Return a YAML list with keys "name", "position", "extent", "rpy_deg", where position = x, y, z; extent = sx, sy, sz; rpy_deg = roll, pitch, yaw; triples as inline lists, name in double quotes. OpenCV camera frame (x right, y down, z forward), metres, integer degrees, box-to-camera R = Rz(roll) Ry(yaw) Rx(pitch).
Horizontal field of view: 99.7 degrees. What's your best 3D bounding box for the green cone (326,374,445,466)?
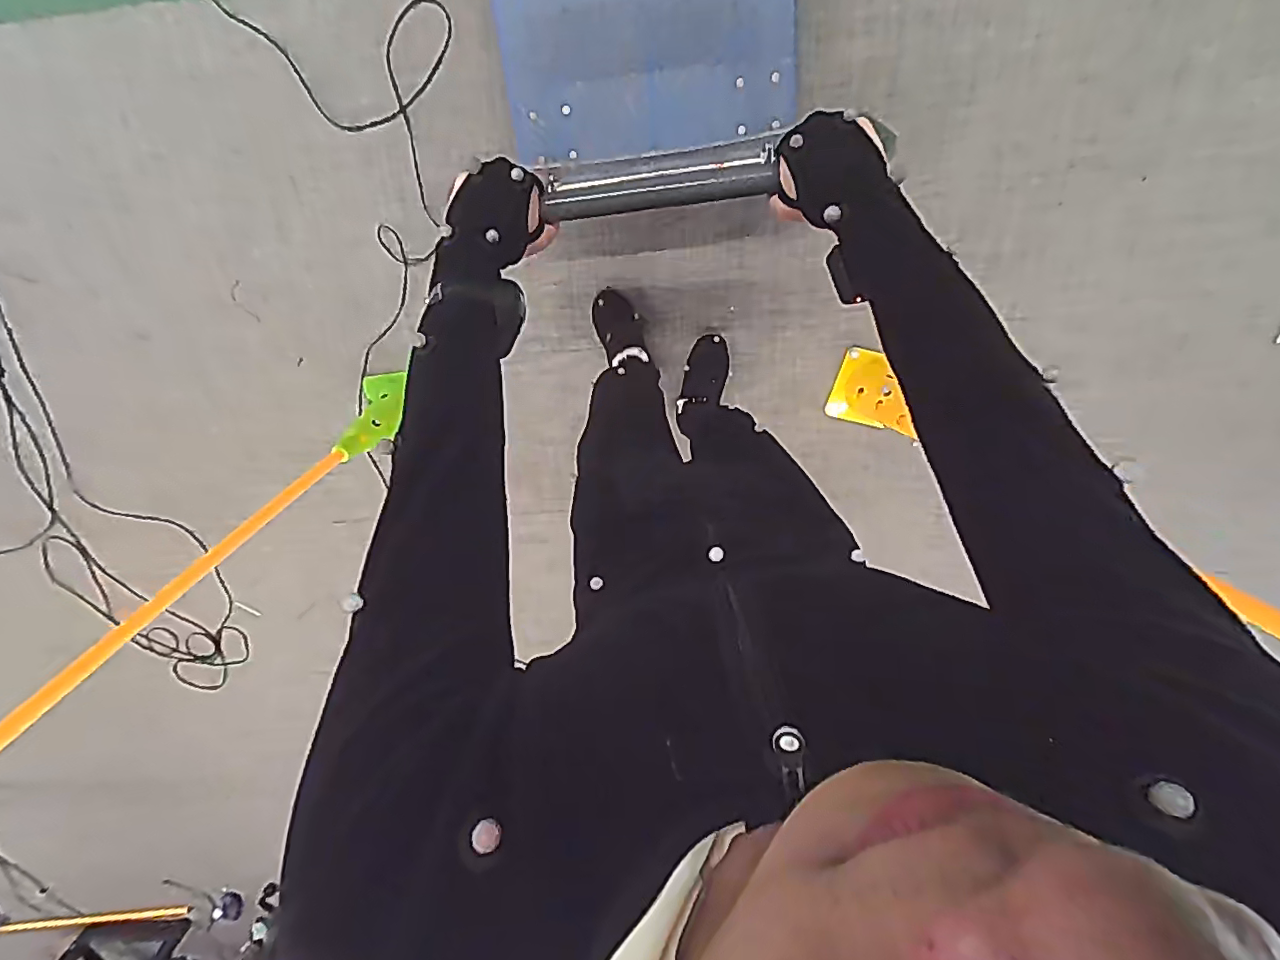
- name: "green cone"
  position: [-0.698, -0.131, 1.423]
  extent: [0.202, 0.368, 0.200]
  rpy_deg: [-6, 115, 8]
